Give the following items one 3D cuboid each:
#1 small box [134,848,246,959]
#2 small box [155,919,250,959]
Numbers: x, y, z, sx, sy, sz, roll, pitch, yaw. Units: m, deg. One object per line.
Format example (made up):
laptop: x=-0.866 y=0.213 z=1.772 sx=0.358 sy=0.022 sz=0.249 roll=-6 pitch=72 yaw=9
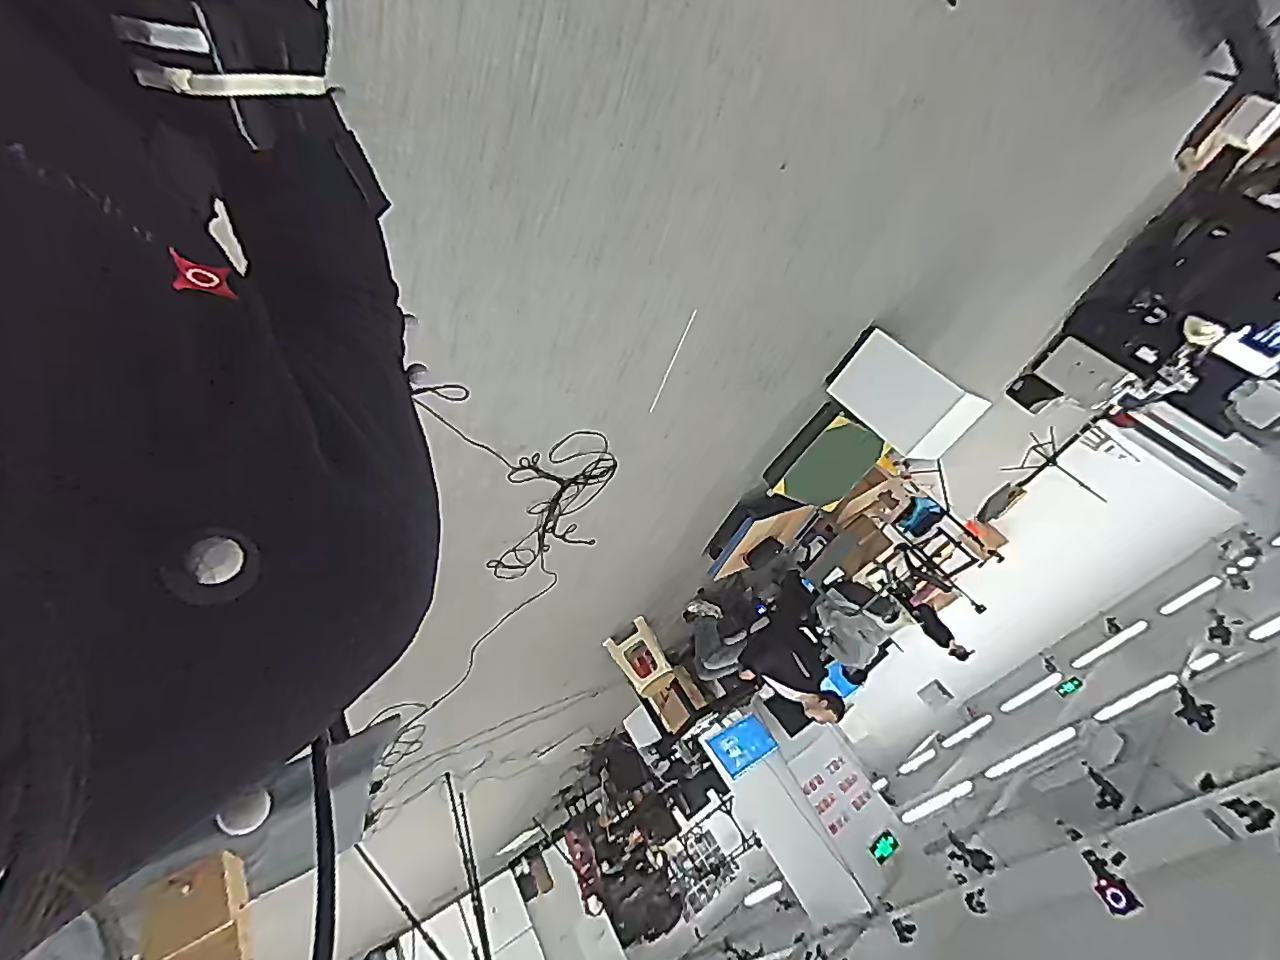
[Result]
small box: x=-1.085 y=1.032 z=1.309 sx=0.168 sy=0.176 sz=0.179 roll=-18 pitch=144 yaw=-31
small box: x=-1.008 y=1.156 z=1.236 sx=0.179 sy=0.176 sz=0.168 roll=-14 pitch=142 yaw=-34
